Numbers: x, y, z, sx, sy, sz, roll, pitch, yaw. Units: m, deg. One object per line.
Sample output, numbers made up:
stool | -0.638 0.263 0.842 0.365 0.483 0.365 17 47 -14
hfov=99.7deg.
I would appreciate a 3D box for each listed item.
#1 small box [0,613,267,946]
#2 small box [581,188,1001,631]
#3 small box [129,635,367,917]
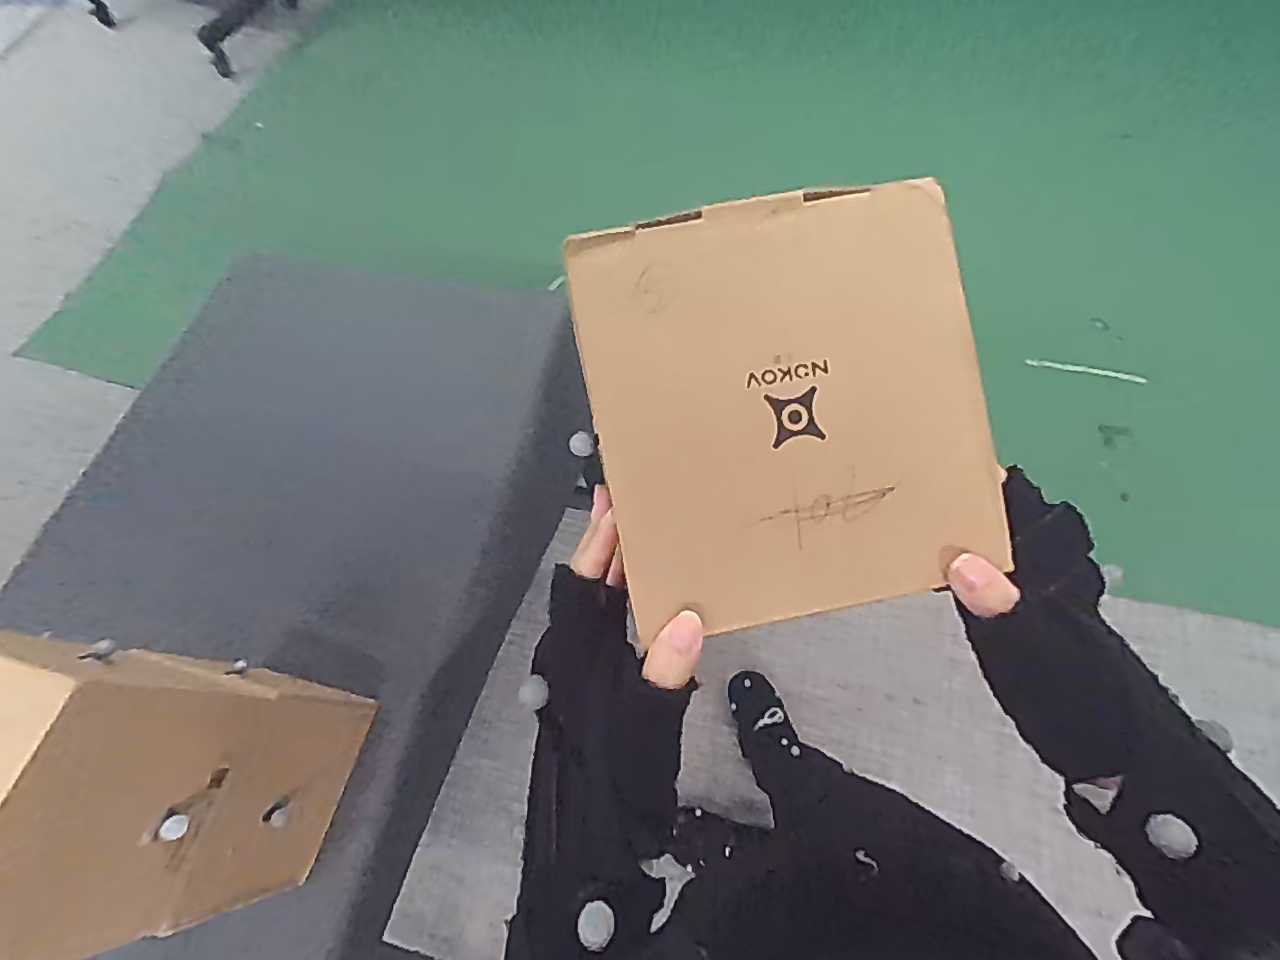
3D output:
small box | -0.423 0.197 0.375 0.179 0.176 0.168 12 67 11
small box | 0.061 -0.031 0.313 0.168 0.176 0.179 -9 90 -3
small box | -0.405 0.268 0.523 0.168 0.176 0.179 11 67 10
